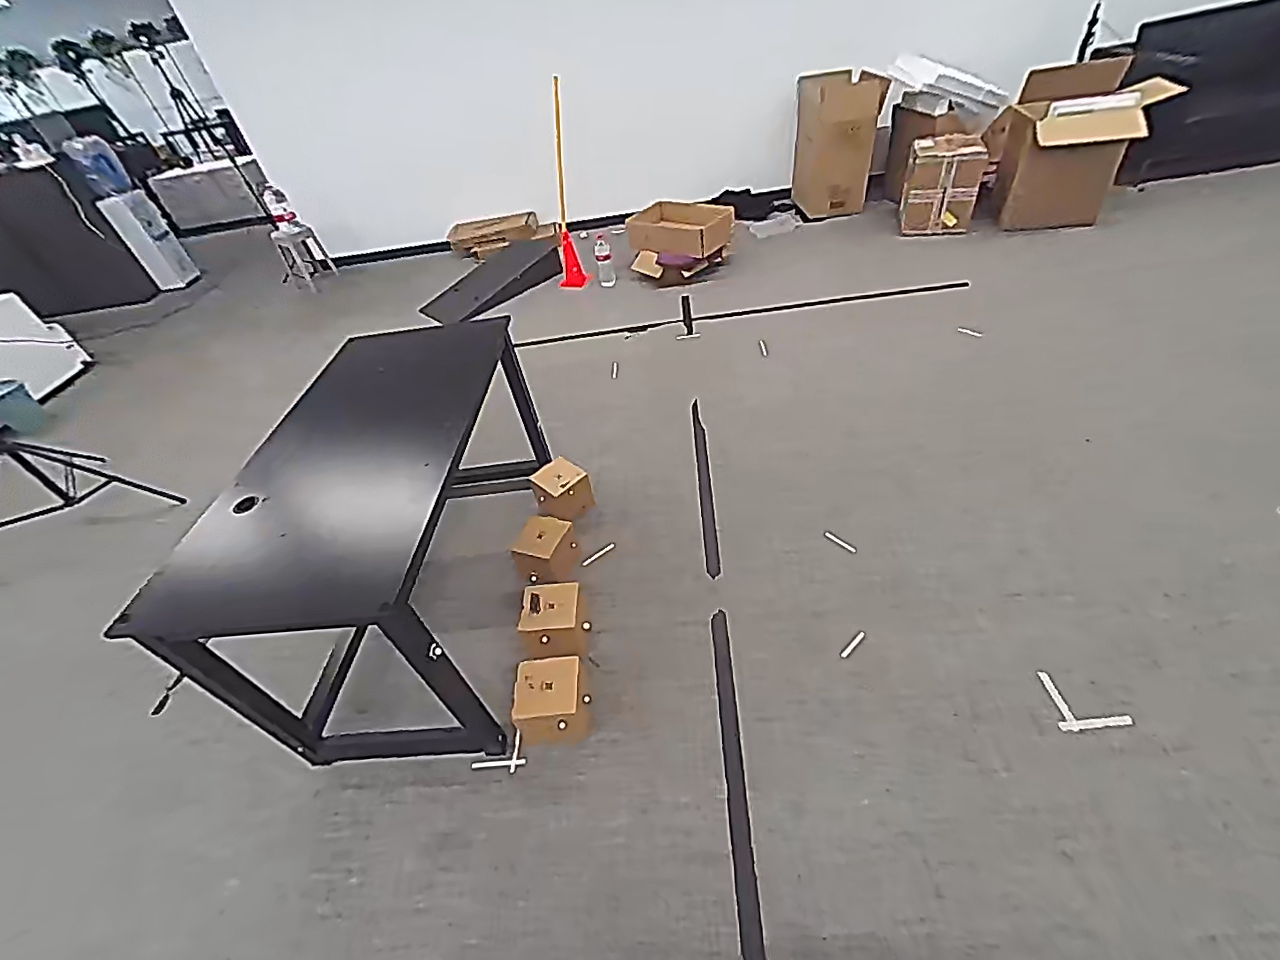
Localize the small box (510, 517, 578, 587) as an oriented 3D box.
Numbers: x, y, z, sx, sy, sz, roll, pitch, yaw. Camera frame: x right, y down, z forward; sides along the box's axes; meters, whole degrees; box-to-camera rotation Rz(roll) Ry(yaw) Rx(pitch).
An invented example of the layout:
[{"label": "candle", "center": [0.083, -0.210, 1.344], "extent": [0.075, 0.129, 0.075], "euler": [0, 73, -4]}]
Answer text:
[{"label": "small box", "center": [-0.335, 0.262, 1.941], "extent": [0.168, 0.176, 0.179], "euler": [8, 47, 21]}]

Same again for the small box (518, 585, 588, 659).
[{"label": "small box", "center": [-0.271, 0.454, 1.718], "extent": [0.179, 0.176, 0.168], "euler": [-6, 43, 4]}]

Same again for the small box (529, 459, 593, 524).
[{"label": "small box", "center": [-0.312, 0.052, 2.158], "extent": [0.179, 0.176, 0.168], "euler": [29, 56, 35]}]
